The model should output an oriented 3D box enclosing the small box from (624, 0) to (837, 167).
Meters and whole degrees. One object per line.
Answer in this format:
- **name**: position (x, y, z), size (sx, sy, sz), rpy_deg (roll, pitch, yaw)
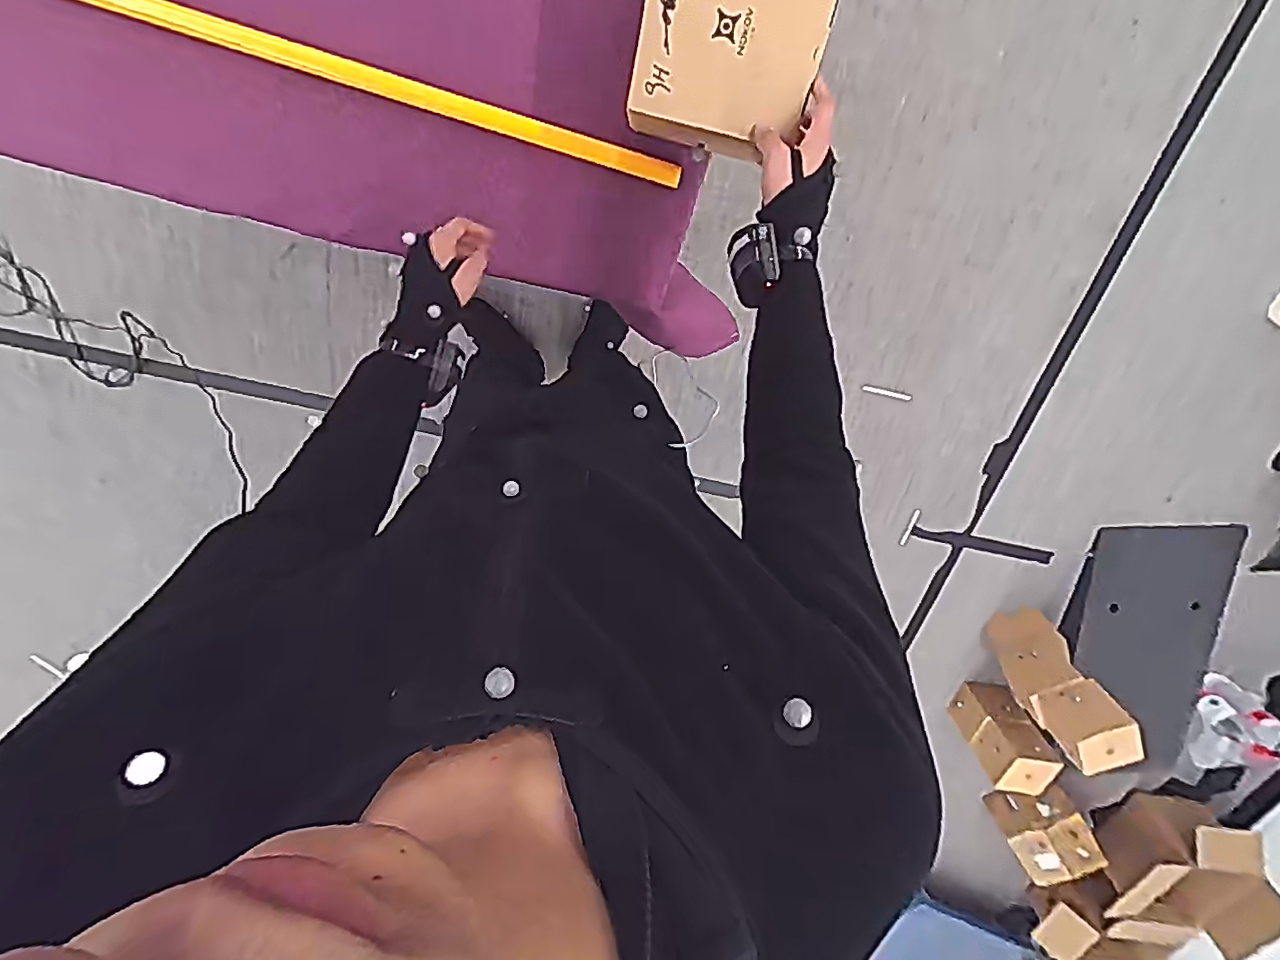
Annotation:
- **small box**: position (0.087, -0.456, 0.592), size (0.179, 0.176, 0.168), rpy_deg (12, 117, -6)
